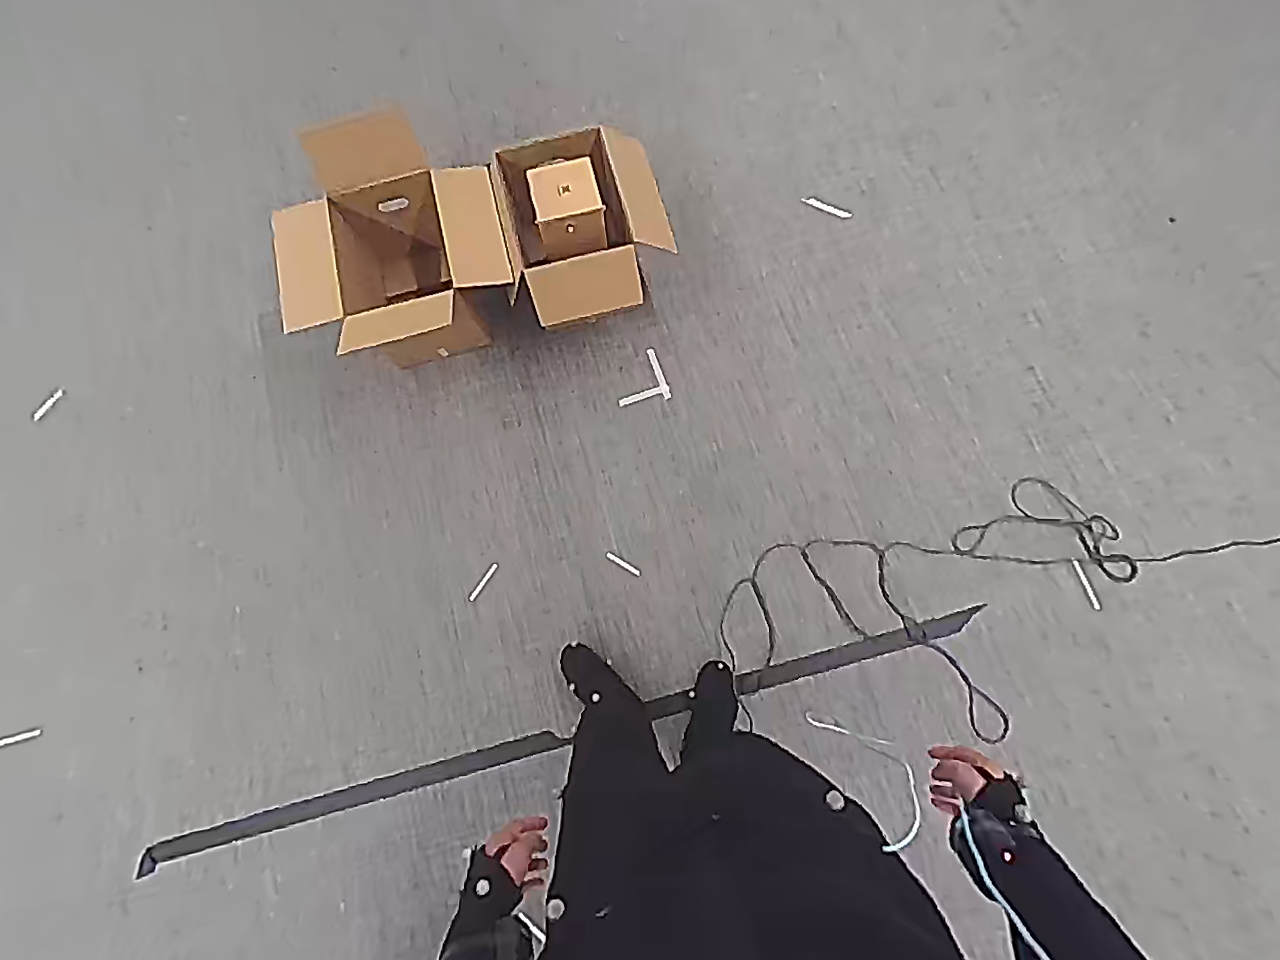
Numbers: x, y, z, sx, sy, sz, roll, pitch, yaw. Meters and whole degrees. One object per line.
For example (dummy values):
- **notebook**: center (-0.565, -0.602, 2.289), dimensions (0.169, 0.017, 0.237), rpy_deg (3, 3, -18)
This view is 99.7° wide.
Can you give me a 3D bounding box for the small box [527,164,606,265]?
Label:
- **small box**: center (-0.195, -0.728, 1.499), dimensions (0.179, 0.176, 0.168), rpy_deg (-15, 77, 0)
